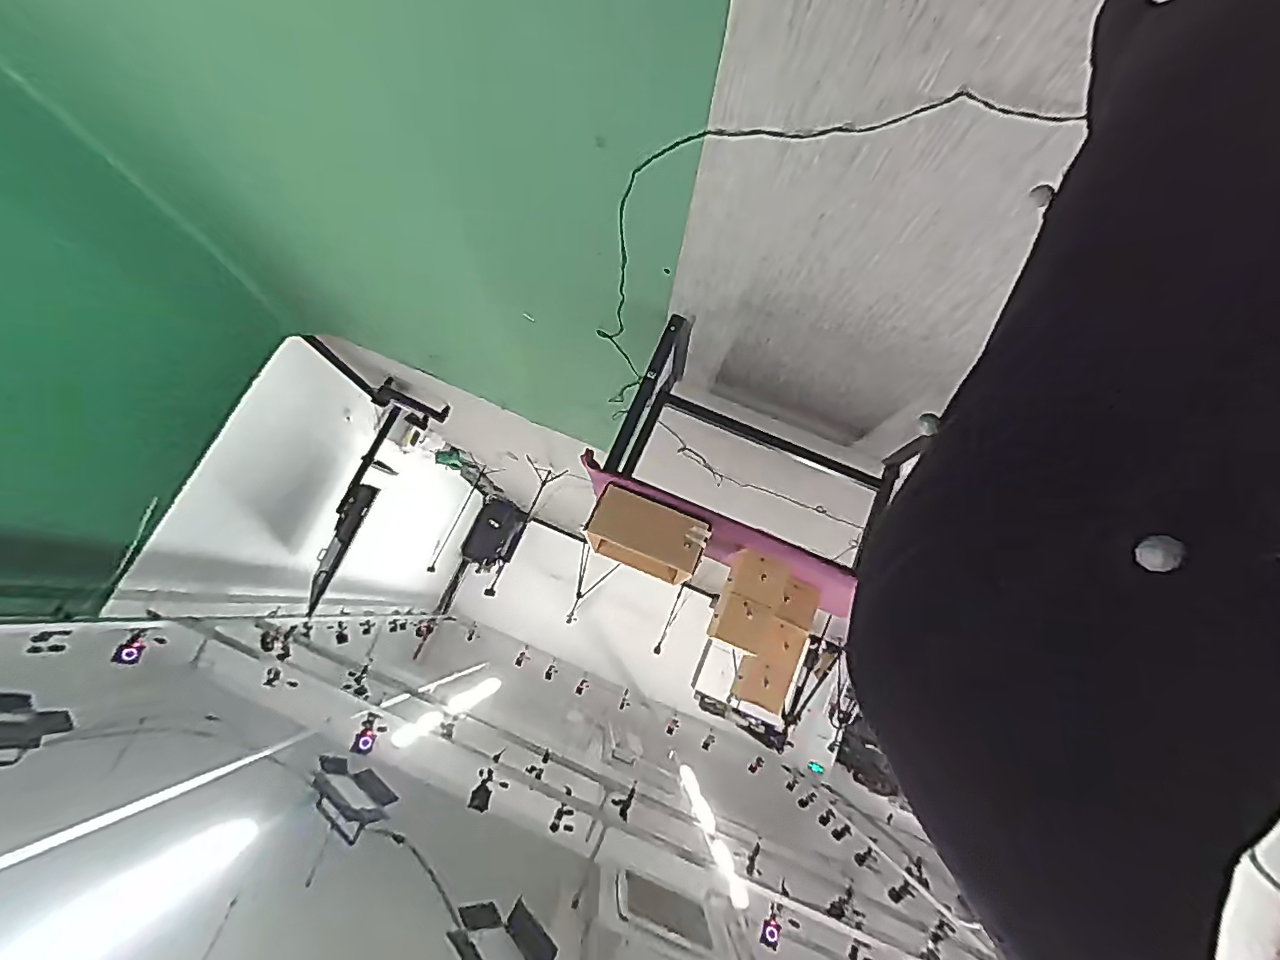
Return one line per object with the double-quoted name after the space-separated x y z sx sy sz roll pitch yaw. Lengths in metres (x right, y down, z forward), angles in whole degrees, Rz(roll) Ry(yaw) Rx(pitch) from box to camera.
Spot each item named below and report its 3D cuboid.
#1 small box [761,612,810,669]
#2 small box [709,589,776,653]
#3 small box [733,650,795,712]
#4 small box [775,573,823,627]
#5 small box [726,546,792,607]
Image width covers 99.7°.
0.545 0.617 2.109 0.168 0.176 0.179 23 167 4 "small box"
0.362 0.491 1.907 0.168 0.176 0.179 23 167 3 "small box"
0.479 0.764 2.076 0.168 0.176 0.179 24 166 5 "small box"
0.607 0.474 2.151 0.168 0.176 0.179 24 167 4 "small box"
0.428 0.346 1.944 0.168 0.176 0.179 24 167 3 "small box"
